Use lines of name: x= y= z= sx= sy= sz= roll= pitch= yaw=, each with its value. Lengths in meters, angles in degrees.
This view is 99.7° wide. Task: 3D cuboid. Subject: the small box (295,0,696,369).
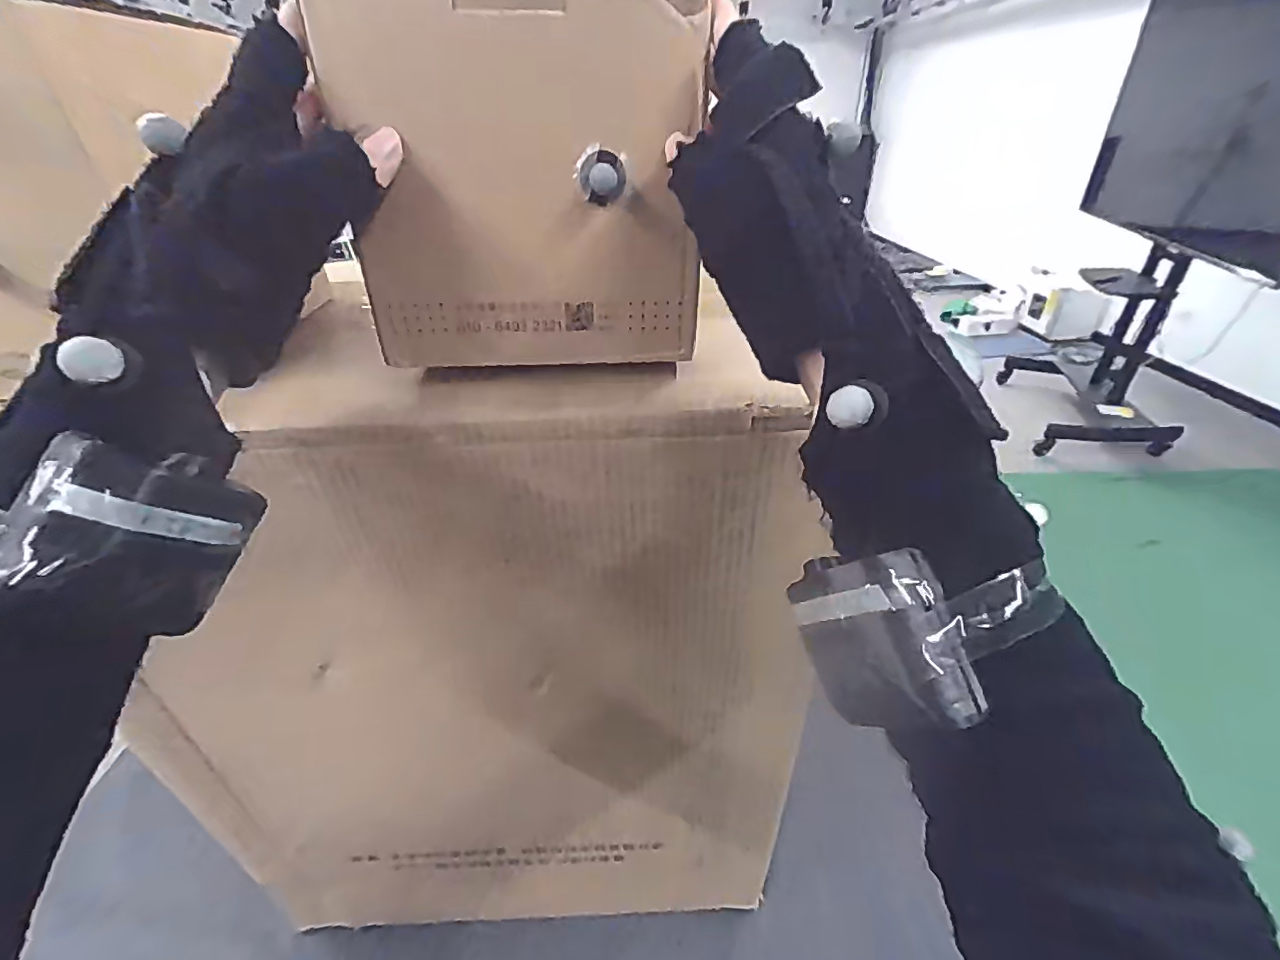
small box: x=-0.061 y=-0.172 z=0.327 sx=0.168 sy=0.176 sz=0.179 roll=0 pitch=31 yaw=-4
